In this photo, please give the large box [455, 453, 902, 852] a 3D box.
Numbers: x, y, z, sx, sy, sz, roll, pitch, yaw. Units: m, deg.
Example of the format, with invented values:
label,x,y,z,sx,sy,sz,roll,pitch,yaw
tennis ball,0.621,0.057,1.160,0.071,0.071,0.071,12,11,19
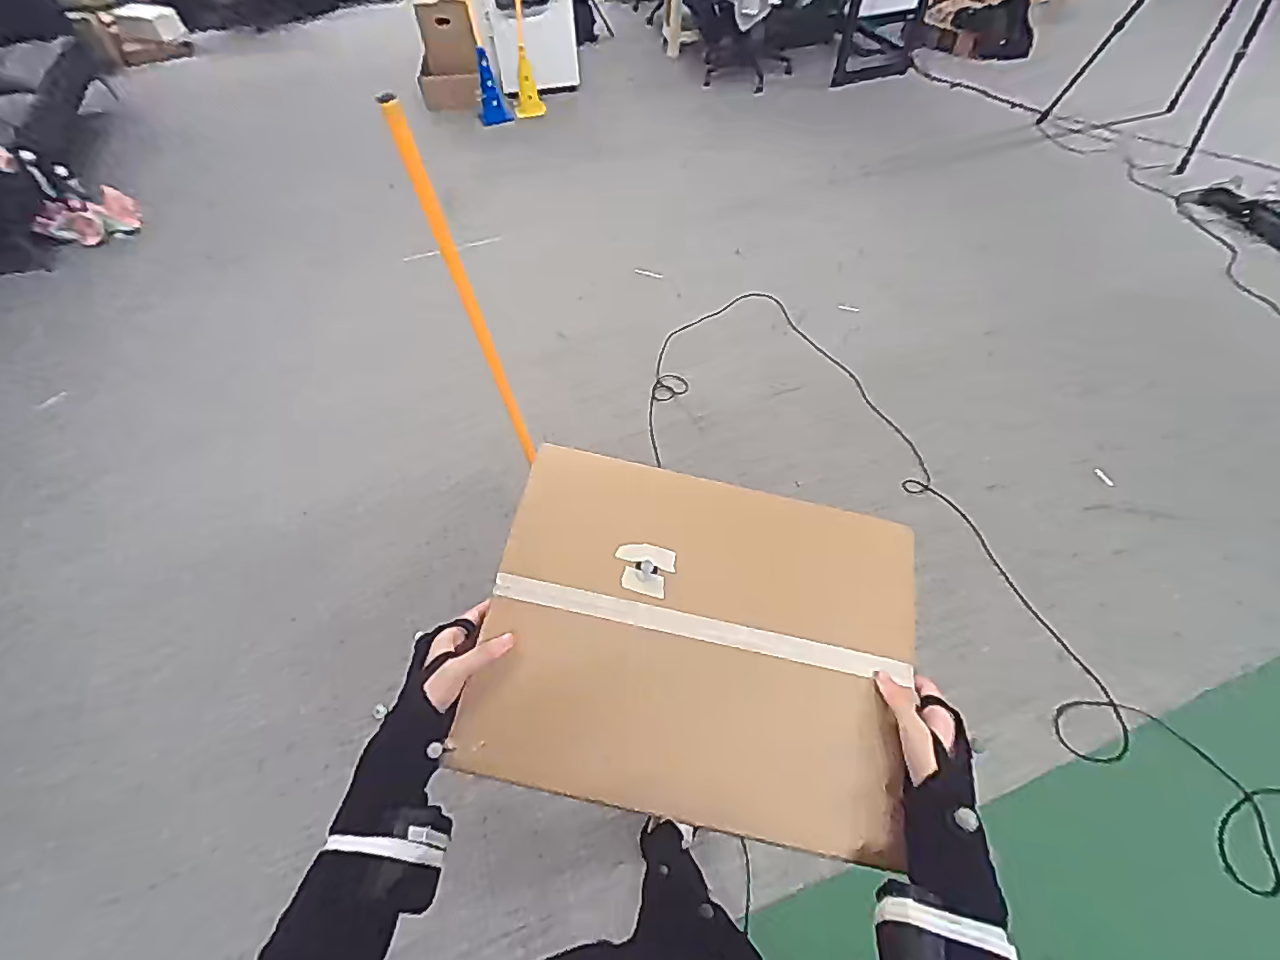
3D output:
label,x,y,z,sx,sy,sz,roll,pitch,yaw
large box,0.051,0.202,0.667,0.408,0.320,0.320,13,67,1
